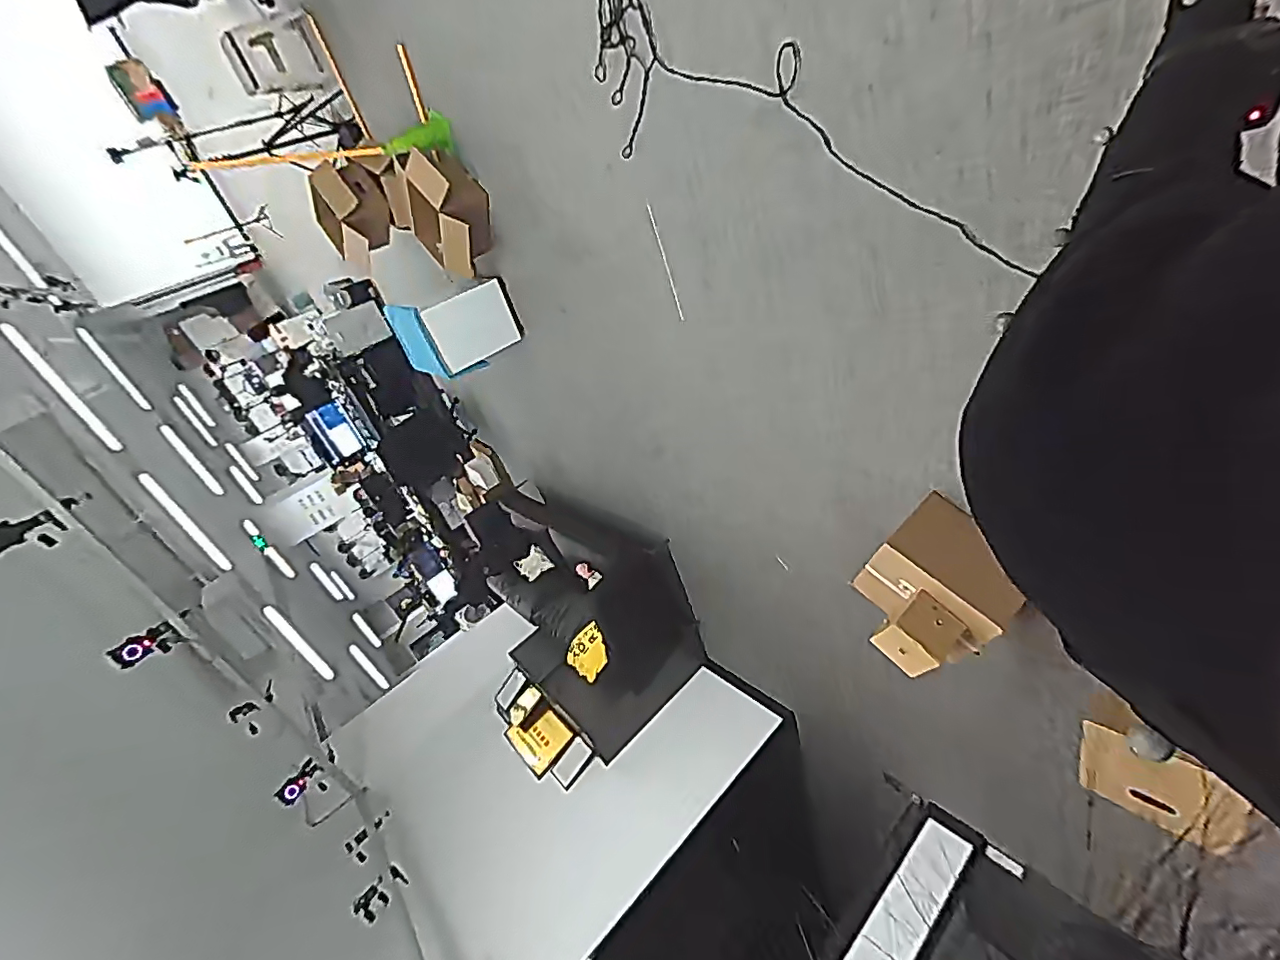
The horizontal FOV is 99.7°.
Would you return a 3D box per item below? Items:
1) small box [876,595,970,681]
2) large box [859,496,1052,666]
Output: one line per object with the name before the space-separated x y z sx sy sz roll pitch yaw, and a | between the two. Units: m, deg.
small box | 0.889 0.494 1.699 0.168 0.176 0.179 43 153 21
large box | 1.037 0.333 1.814 0.408 0.320 0.320 42 152 26
